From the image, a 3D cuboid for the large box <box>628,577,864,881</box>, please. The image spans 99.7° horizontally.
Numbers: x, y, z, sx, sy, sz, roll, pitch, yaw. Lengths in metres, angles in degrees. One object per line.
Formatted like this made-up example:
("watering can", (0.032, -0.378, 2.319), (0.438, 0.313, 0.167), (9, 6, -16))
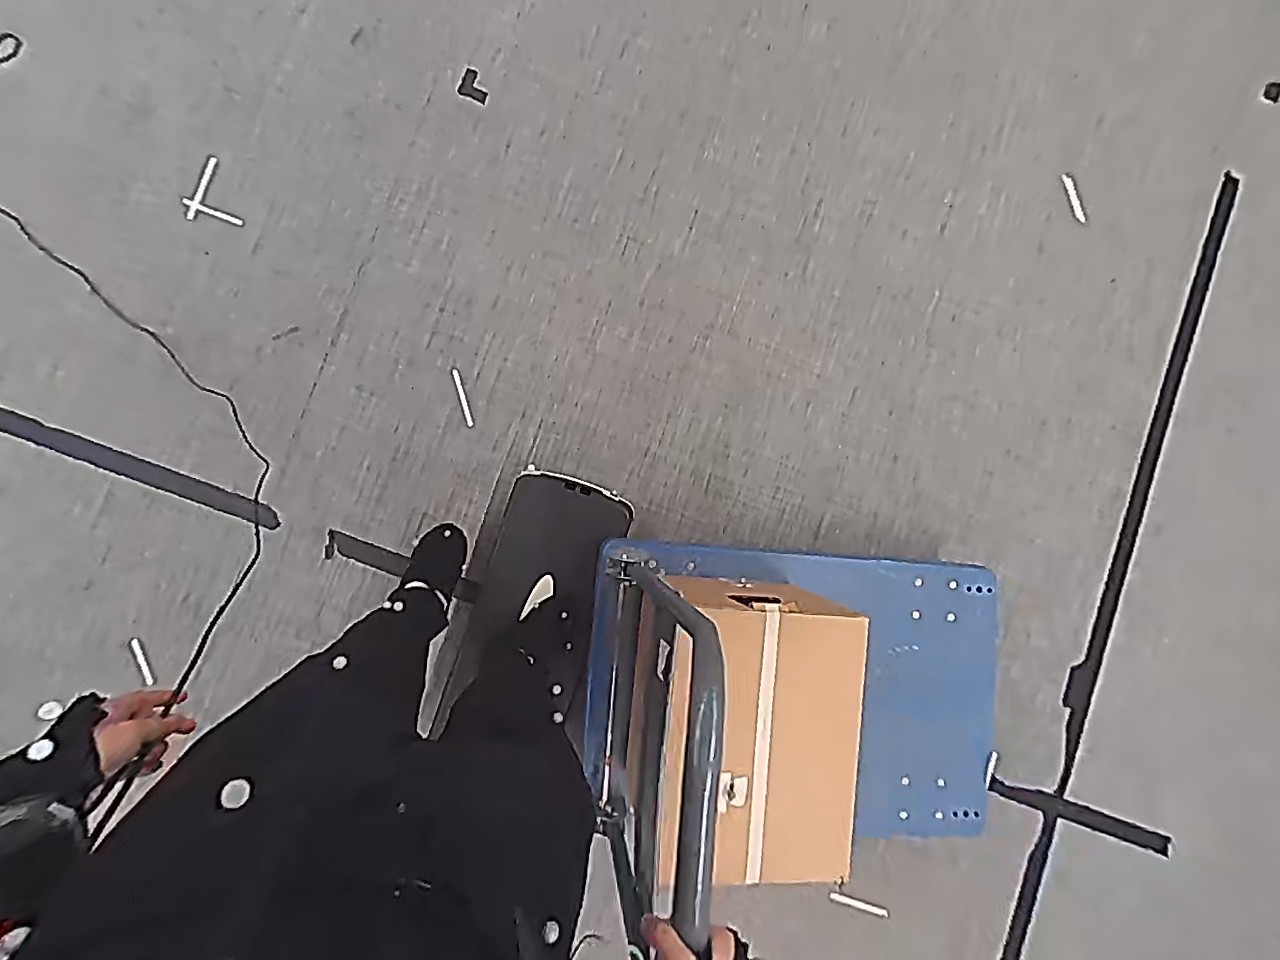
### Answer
("large box", (0.161, 0.400, 0.959), (0.320, 0.320, 0.408), (6, 88, -7))
